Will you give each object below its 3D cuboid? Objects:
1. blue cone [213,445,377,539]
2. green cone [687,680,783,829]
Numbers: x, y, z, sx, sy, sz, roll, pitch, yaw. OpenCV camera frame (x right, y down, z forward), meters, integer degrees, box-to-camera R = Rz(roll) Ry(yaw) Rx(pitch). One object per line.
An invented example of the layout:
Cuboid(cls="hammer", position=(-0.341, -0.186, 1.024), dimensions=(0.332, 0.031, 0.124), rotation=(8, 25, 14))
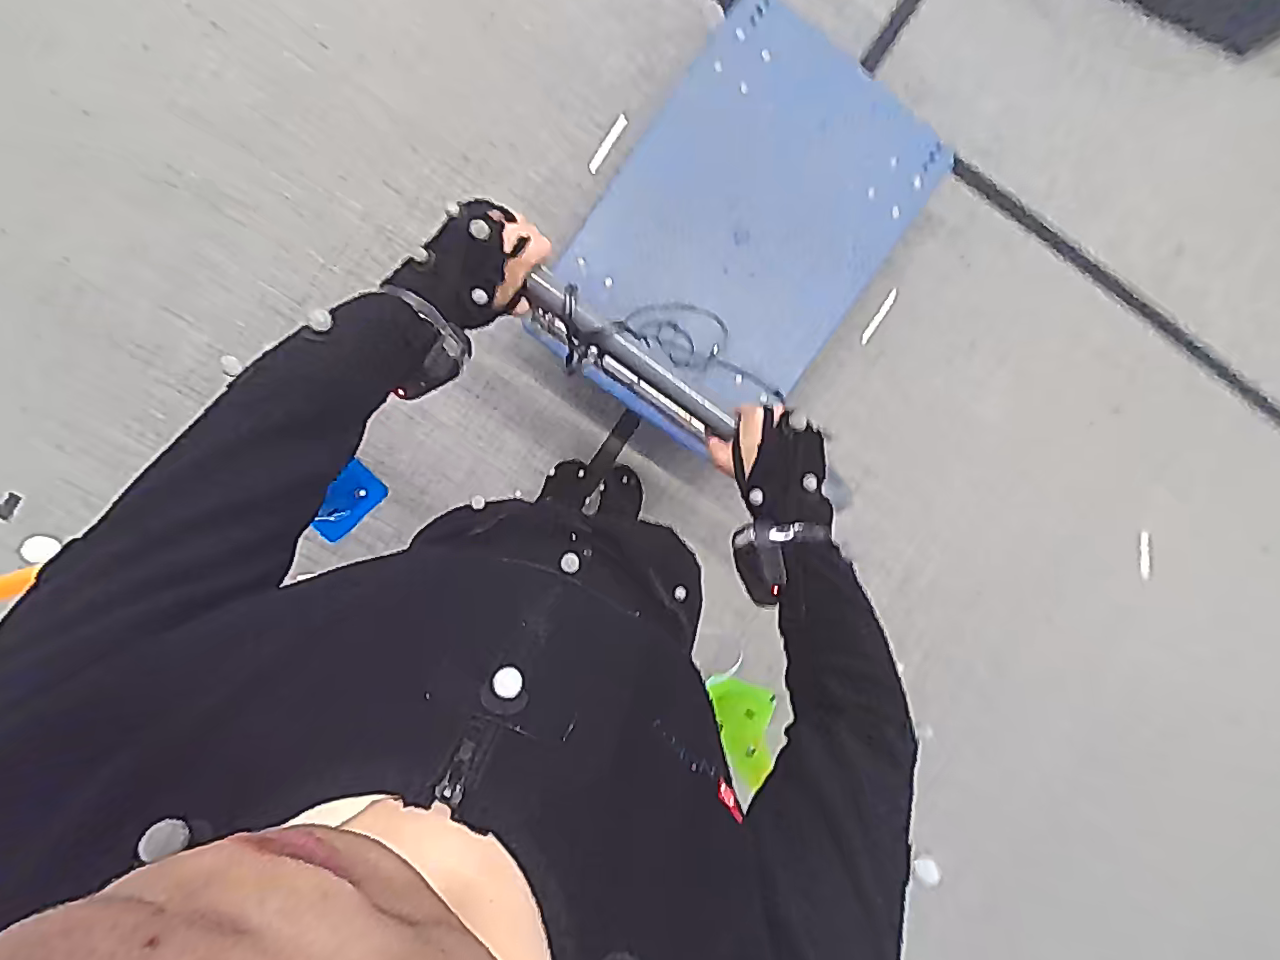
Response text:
Cuboid(cls="blue cone", position=(-0.749, 0.045, 1.148), dimensions=(0.192, 0.380, 0.193), rotation=(-41, 97, 1))
Cuboid(cls="green cone", position=(0.254, 0.660, 1.260), dimensions=(0.200, 0.368, 0.202), rotation=(20, 95, -5))
